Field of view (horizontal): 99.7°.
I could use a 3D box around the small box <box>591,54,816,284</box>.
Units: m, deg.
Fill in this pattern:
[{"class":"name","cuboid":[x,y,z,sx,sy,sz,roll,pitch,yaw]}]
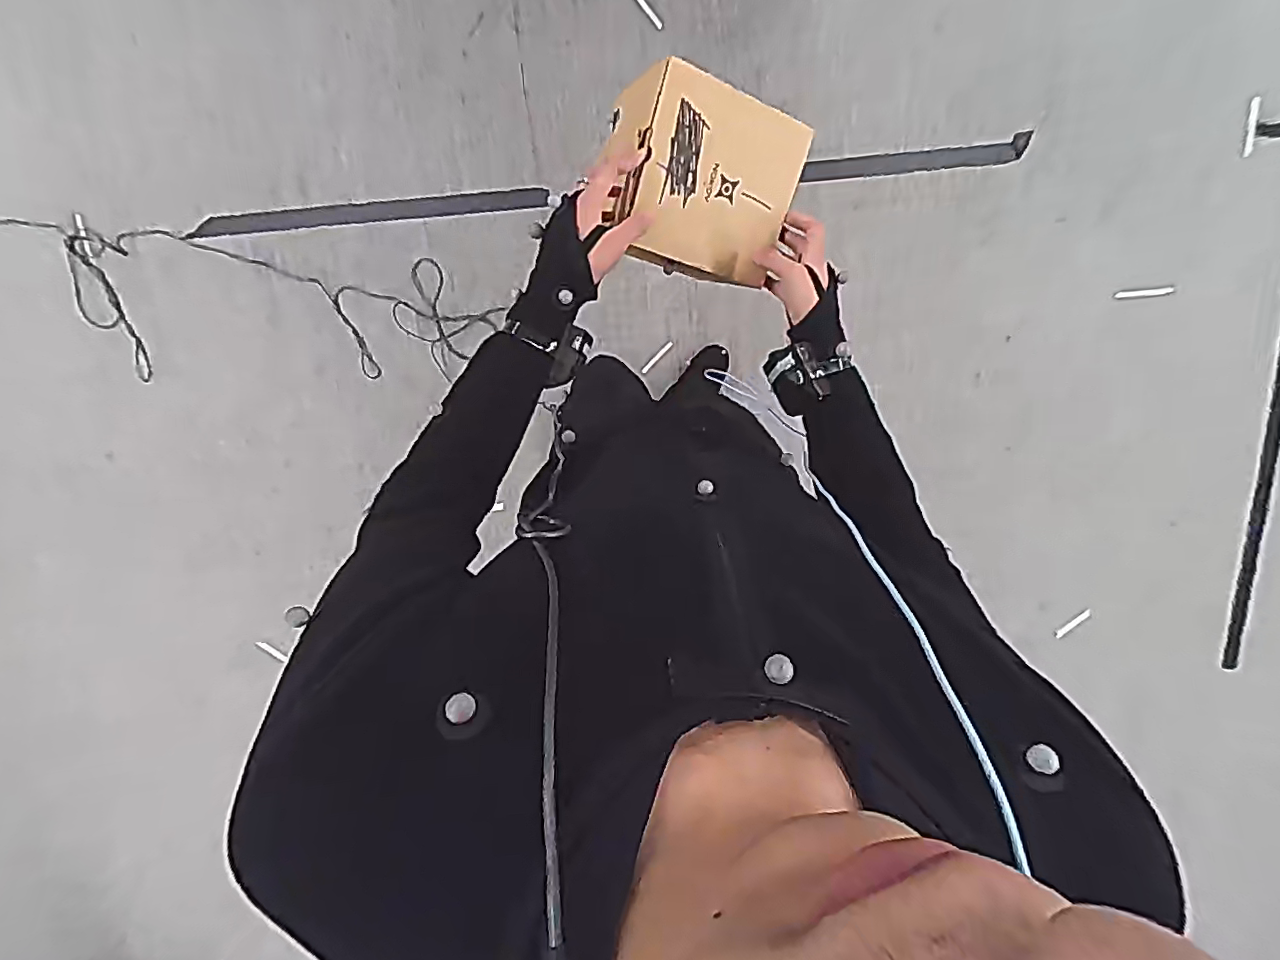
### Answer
[{"class":"small box","cuboid":[0.058,-0.337,0.622,0.179,0.176,0.168,9,110,-25]}]
